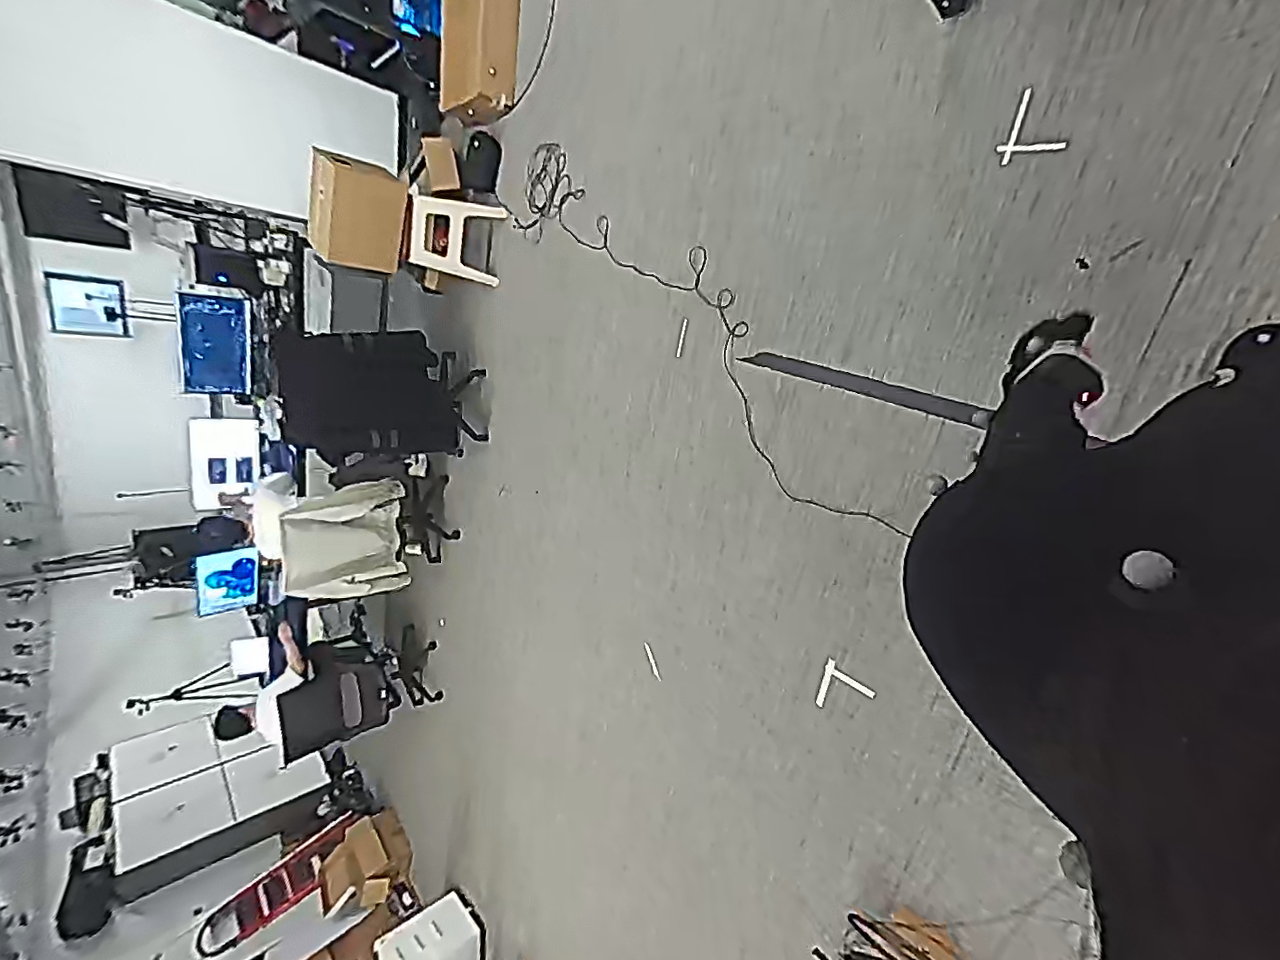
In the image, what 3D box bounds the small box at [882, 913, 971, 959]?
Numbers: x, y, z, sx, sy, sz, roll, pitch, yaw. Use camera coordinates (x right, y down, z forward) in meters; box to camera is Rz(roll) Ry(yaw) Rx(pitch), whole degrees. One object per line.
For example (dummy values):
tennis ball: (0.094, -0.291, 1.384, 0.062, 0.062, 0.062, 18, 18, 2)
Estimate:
small box: (0.784, 1.361, 1.499, 0.179, 0.176, 0.168, 18, 109, 42)
